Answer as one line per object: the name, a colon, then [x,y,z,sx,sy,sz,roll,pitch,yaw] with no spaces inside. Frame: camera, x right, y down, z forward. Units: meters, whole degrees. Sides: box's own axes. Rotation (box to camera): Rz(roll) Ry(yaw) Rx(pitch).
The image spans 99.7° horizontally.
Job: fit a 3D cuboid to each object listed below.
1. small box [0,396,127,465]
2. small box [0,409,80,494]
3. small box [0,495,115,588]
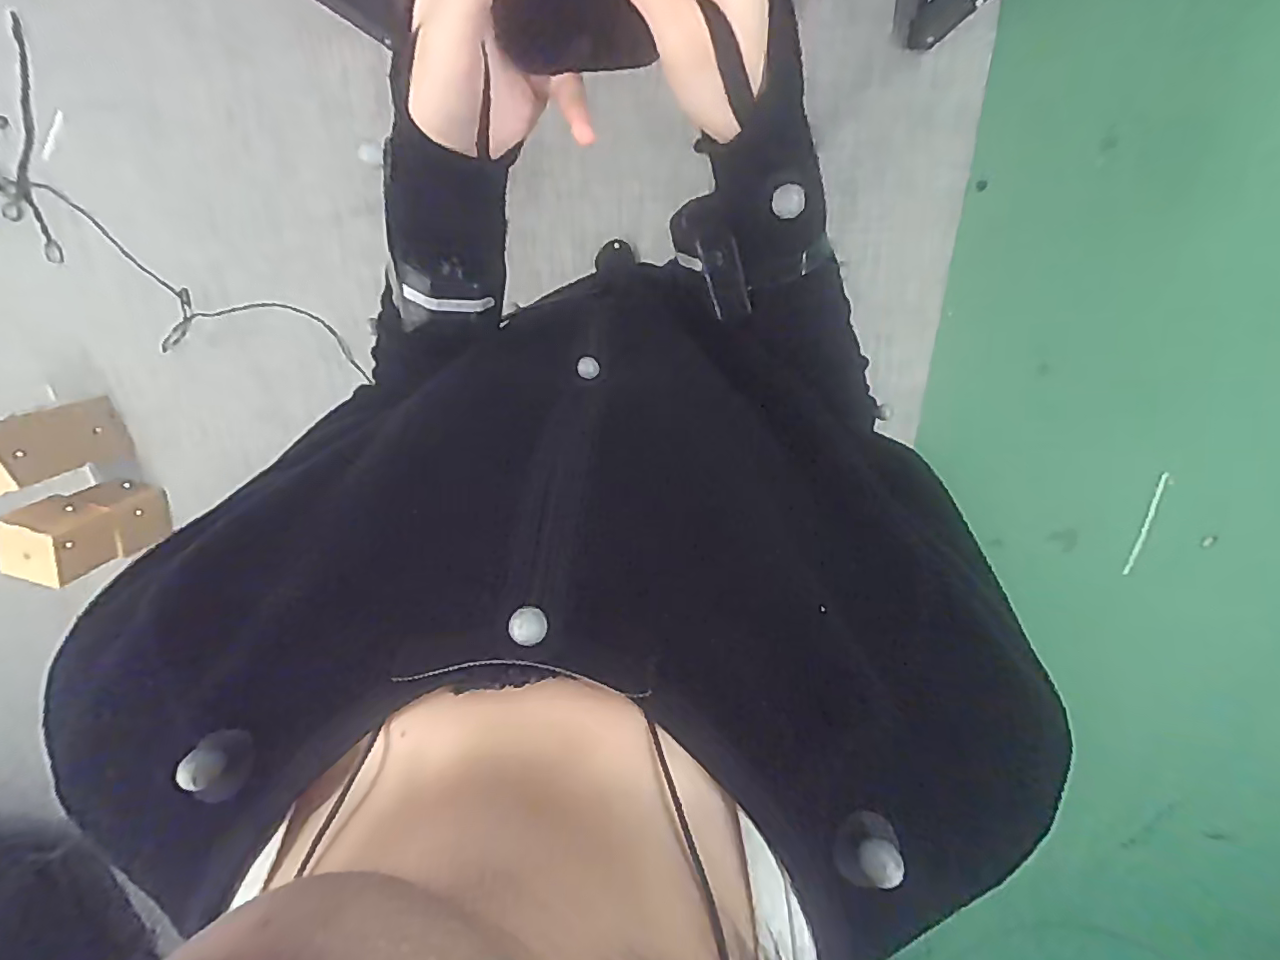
small box: [-1.656,-0.141,1.568,0.179,0.176,0.168,-5,112,8]
small box: [-1.656,-0.071,1.420,0.168,0.176,0.179,-10,112,8]
small box: [-1.638,0.169,1.522,0.168,0.176,0.179,17,112,-2]
